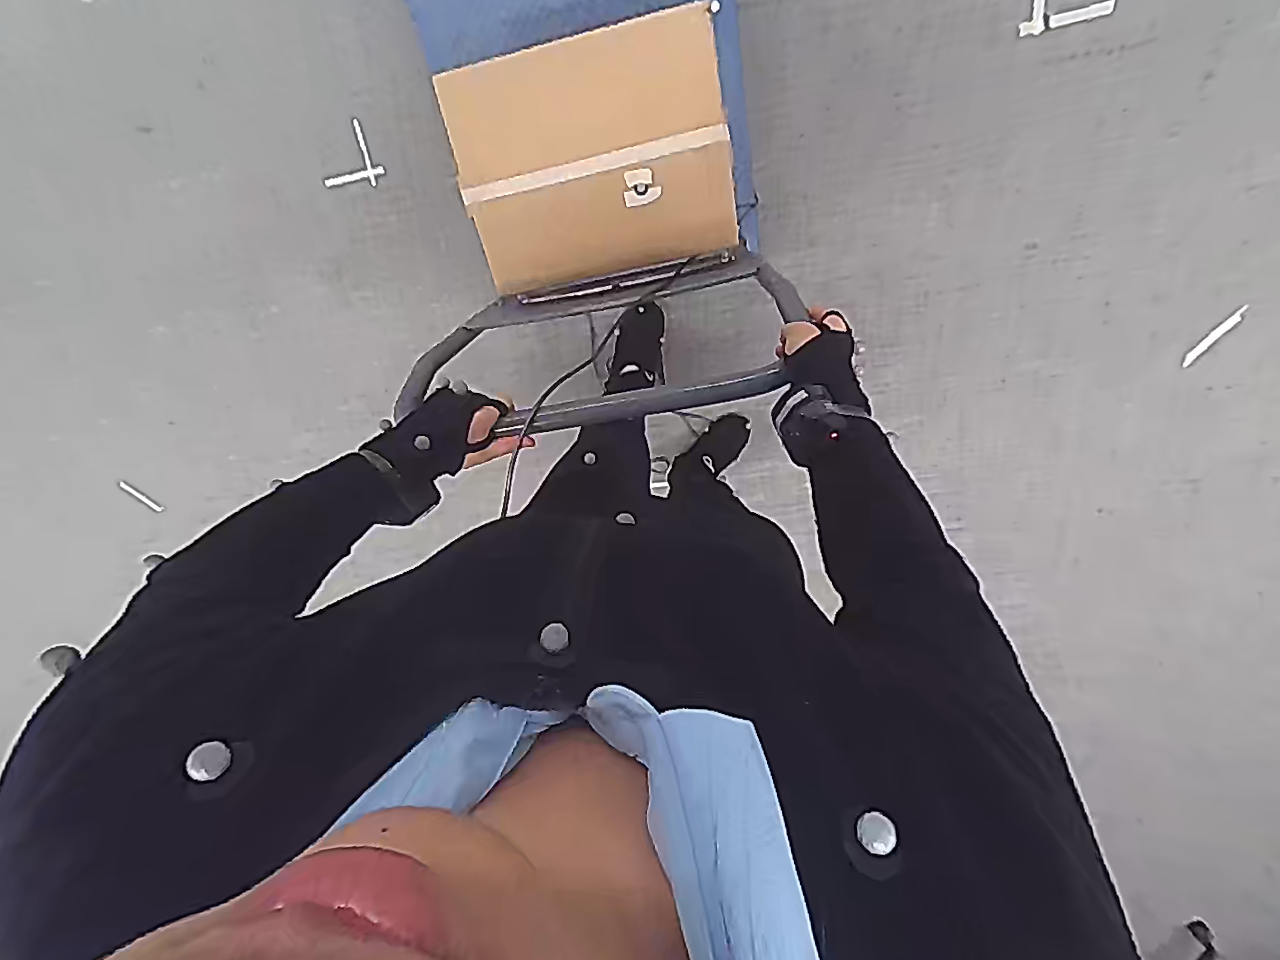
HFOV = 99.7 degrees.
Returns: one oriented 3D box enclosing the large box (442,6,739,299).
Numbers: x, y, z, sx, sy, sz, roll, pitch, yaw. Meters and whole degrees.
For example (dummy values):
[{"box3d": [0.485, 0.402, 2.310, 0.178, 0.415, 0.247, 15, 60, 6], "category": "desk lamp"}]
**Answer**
[{"box3d": [-0.062, -0.539, 0.957, 0.408, 0.320, 0.320, -10, 116, 7], "category": "large box"}]
